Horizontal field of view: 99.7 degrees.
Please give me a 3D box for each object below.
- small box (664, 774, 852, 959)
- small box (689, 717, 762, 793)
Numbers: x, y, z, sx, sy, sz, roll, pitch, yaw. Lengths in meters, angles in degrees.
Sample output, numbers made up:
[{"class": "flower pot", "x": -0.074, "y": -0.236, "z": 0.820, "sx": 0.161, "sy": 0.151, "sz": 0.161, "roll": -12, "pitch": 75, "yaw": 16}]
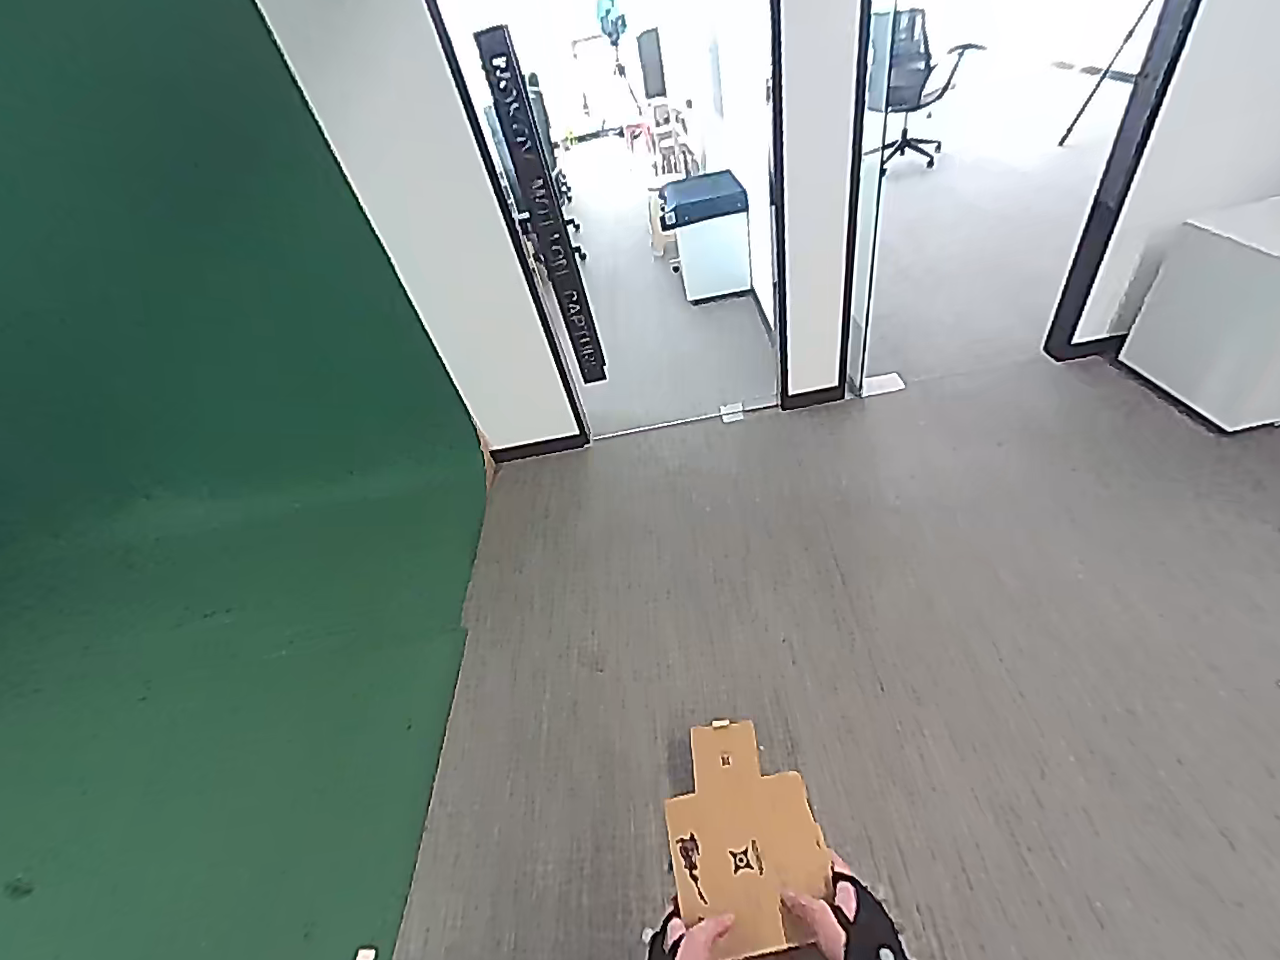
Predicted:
[{"class": "small box", "x": 0.135, "y": 0.493, "z": 0.658, "sx": 0.179, "sy": 0.176, "sz": 0.168, "roll": -12, "pitch": 35, "yaw": 0}, {"class": "small box", "x": 0.220, "y": 0.732, "z": 1.381, "sx": 0.168, "sy": 0.176, "sz": 0.179, "roll": -9, "pitch": 43, "yaw": 10}]
